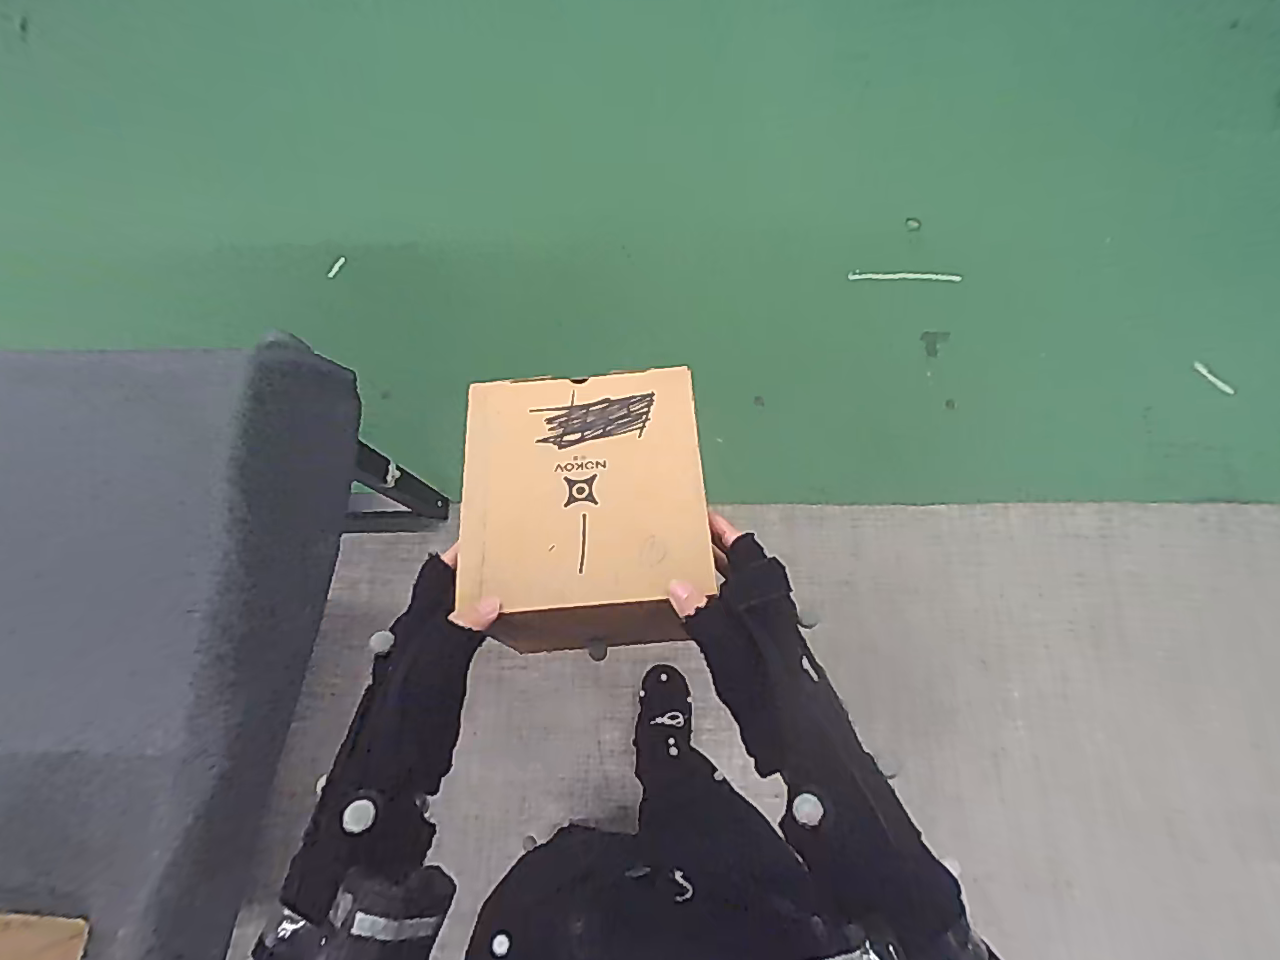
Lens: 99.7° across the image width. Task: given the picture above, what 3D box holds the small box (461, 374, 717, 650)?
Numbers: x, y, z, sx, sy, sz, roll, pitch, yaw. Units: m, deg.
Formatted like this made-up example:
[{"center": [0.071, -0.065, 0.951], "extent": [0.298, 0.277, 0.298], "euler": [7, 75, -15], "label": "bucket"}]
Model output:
[{"center": [-0.032, 0.035, 0.447], "extent": [0.168, 0.176, 0.179], "euler": [-4, 65, 1], "label": "small box"}]
